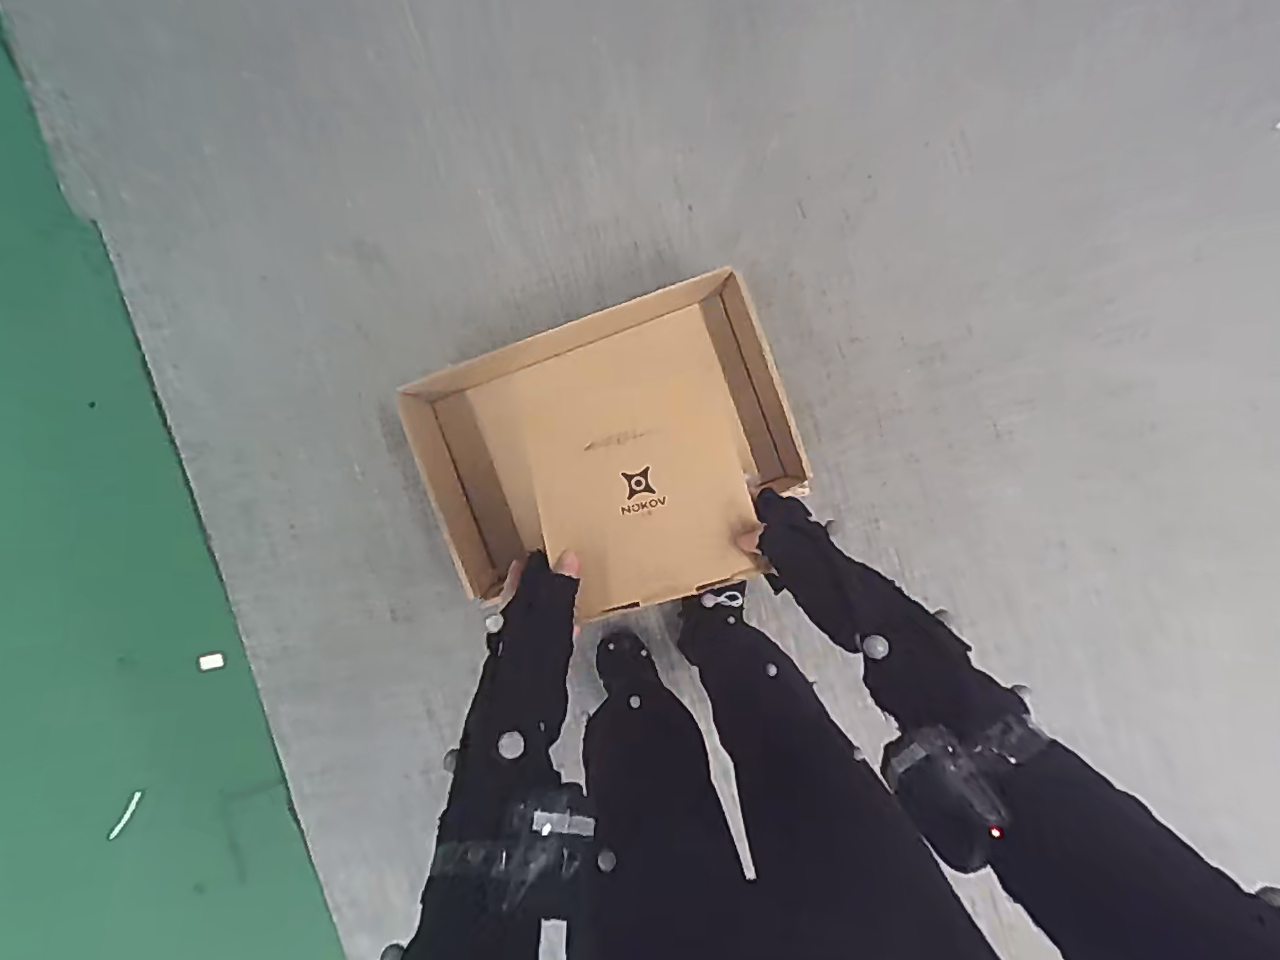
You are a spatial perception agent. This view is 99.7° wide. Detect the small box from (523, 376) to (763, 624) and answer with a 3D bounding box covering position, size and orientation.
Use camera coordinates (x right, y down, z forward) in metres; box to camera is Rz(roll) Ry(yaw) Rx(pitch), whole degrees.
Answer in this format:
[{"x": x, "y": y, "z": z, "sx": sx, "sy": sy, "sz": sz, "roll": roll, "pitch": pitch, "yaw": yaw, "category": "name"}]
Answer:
[{"x": 0.001, "y": 0.030, "z": 0.515, "sx": 0.168, "sy": 0.176, "sz": 0.179, "roll": -14, "pitch": 75, "yaw": -3, "category": "small box"}]
